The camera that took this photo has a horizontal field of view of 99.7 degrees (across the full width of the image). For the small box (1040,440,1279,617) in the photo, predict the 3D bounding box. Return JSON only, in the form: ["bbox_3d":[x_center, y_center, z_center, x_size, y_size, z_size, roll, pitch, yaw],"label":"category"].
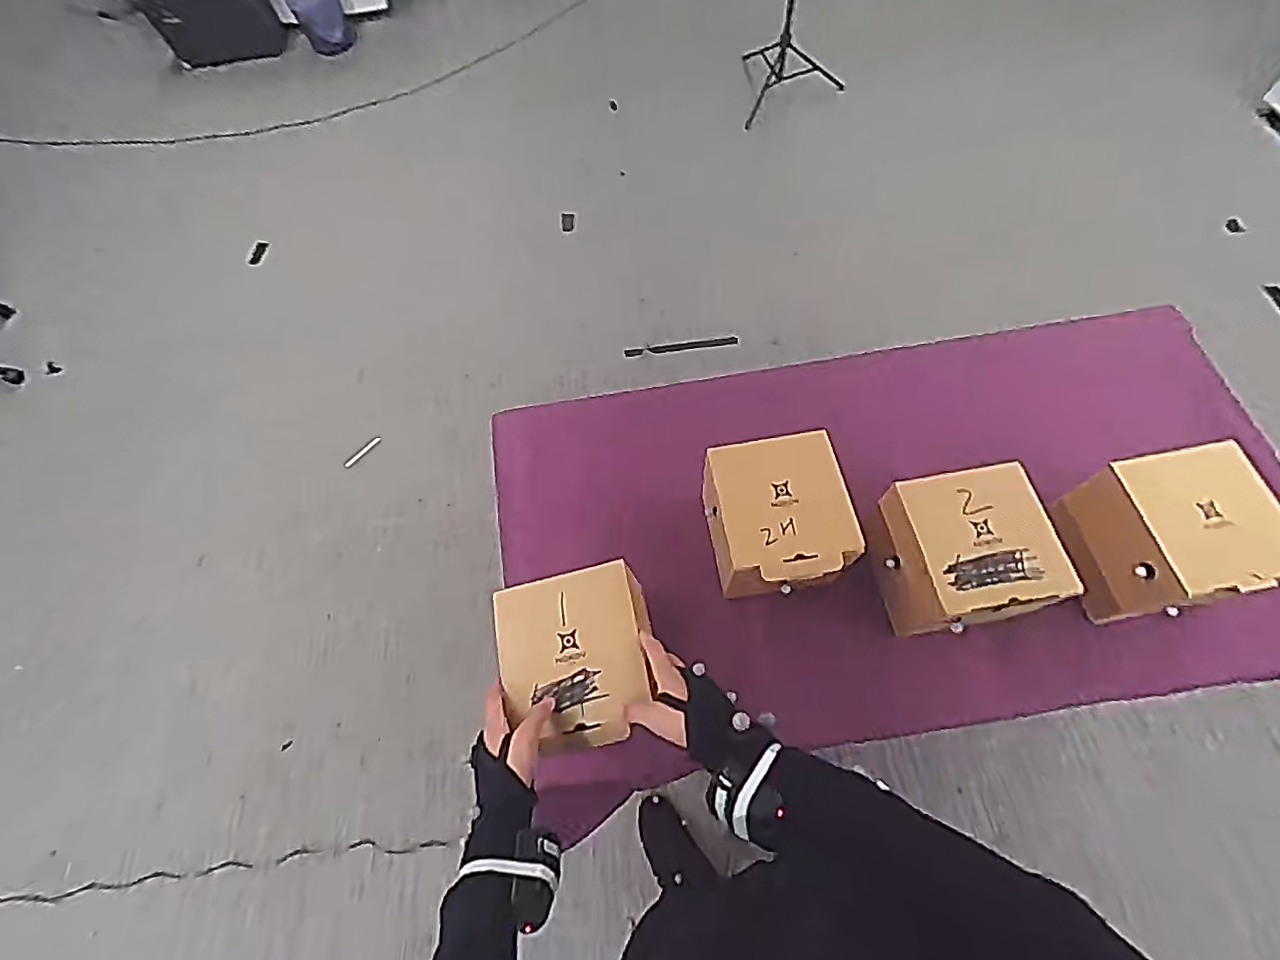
[{"bbox_3d":[0.696,0.071,0.728,0.168,0.176,0.179,-11,65,-1],"label":"small box"}]

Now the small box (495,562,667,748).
[{"bbox_3d":[-0.067,0.223,0.686,0.168,0.176,0.179,-15,65,2],"label":"small box"}]

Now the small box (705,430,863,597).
[{"bbox_3d":[0.190,0.054,0.774,0.168,0.176,0.179,-10,66,1],"label":"small box"}]
